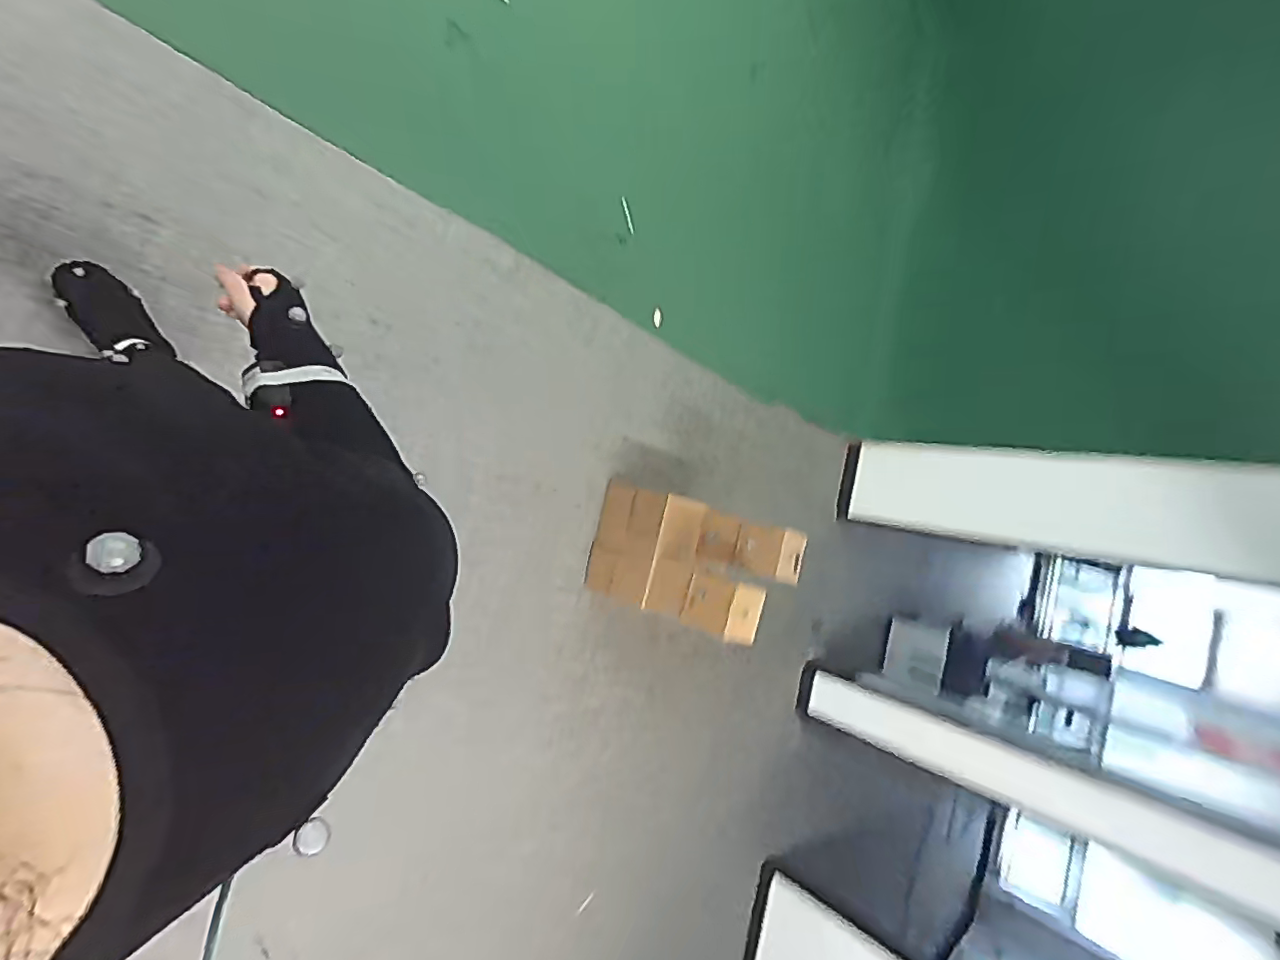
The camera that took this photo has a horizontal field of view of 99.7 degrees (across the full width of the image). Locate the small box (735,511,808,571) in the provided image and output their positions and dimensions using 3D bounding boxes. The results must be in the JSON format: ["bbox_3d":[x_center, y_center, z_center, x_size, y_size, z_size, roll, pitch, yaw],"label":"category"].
[{"bbox_3d":[0.454,0.208,1.866,0.179,0.176,0.168,20,81,-47],"label":"small box"}]

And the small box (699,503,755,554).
[{"bbox_3d":[0.344,0.185,1.988,0.179,0.176,0.168,17,84,-48],"label":"small box"}]

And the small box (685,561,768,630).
[{"bbox_3d":[0.271,0.361,1.703,0.179,0.176,0.168,22,82,-45],"label":"small box"}]
